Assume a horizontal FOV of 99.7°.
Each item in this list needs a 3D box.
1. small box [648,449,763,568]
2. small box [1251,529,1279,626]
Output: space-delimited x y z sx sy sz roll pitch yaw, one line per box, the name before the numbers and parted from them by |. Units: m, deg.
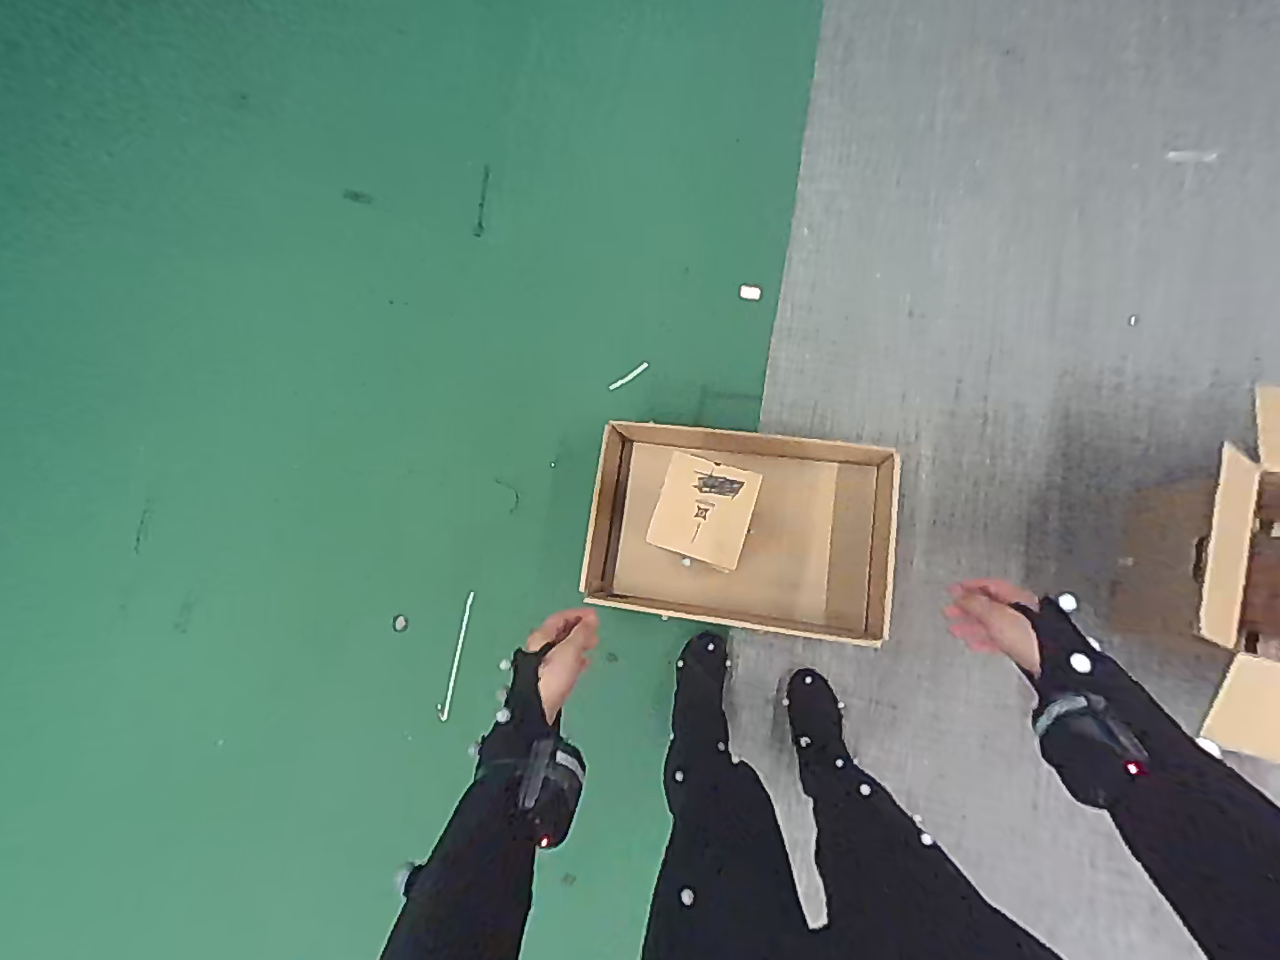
small box | 0.124 0.060 1.026 0.168 0.176 0.179 16 84 11
small box | 1.152 0.169 0.863 0.179 0.176 0.168 10 84 10
